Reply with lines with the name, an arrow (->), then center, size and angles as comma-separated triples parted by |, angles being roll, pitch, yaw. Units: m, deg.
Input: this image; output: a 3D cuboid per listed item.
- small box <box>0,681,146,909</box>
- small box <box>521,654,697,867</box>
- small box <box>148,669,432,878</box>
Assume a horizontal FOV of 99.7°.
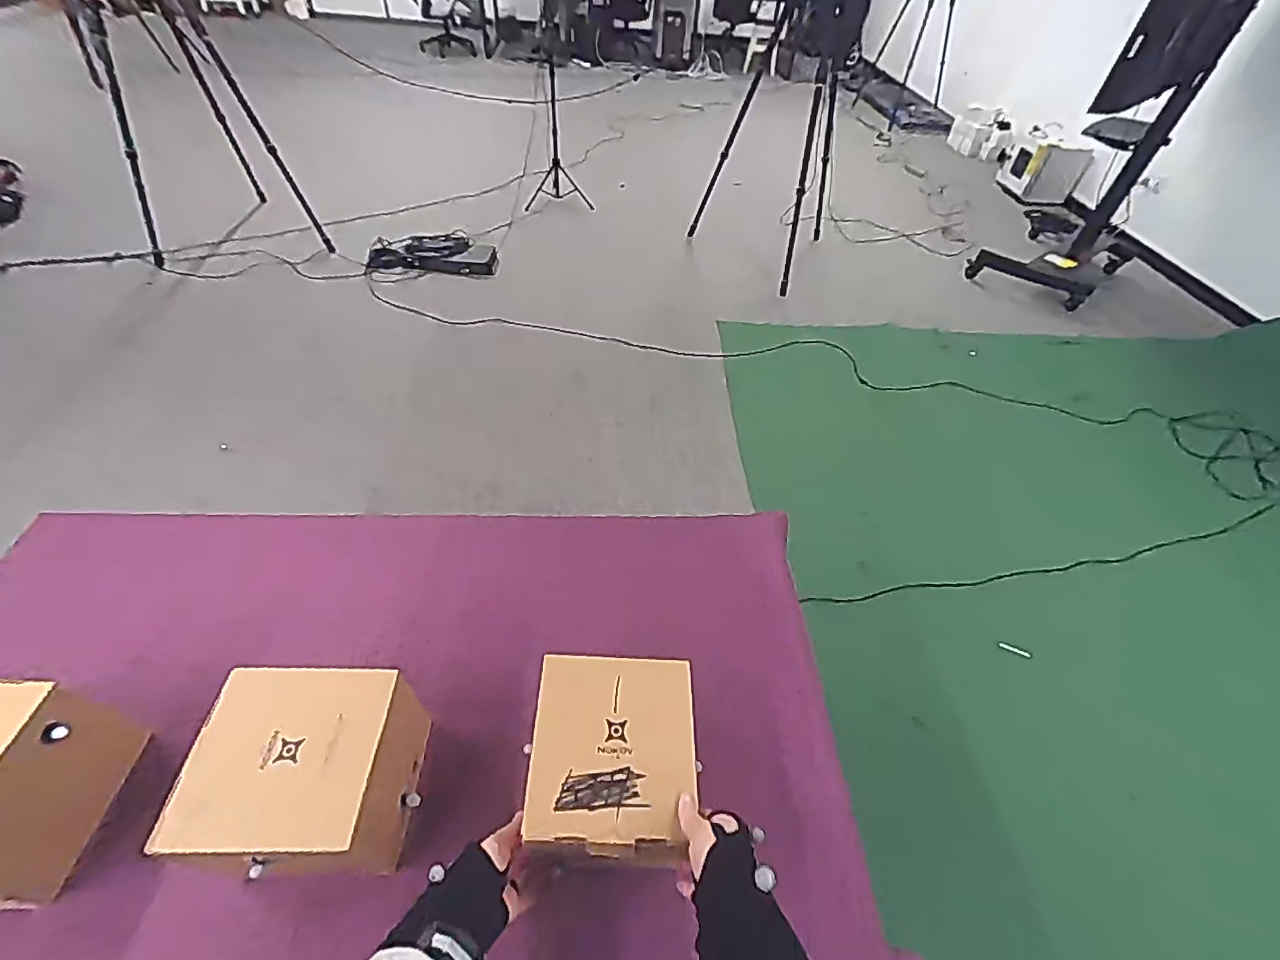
small box -> -0.681, 0.324, 0.557 | 0.168, 0.176, 0.179 | 3, 46, -2
small box -> -0.033, 0.317, 0.605 | 0.168, 0.176, 0.179 | 4, 46, -4
small box -> -0.349, 0.320, 0.586 | 0.179, 0.176, 0.168 | 3, 48, -3
